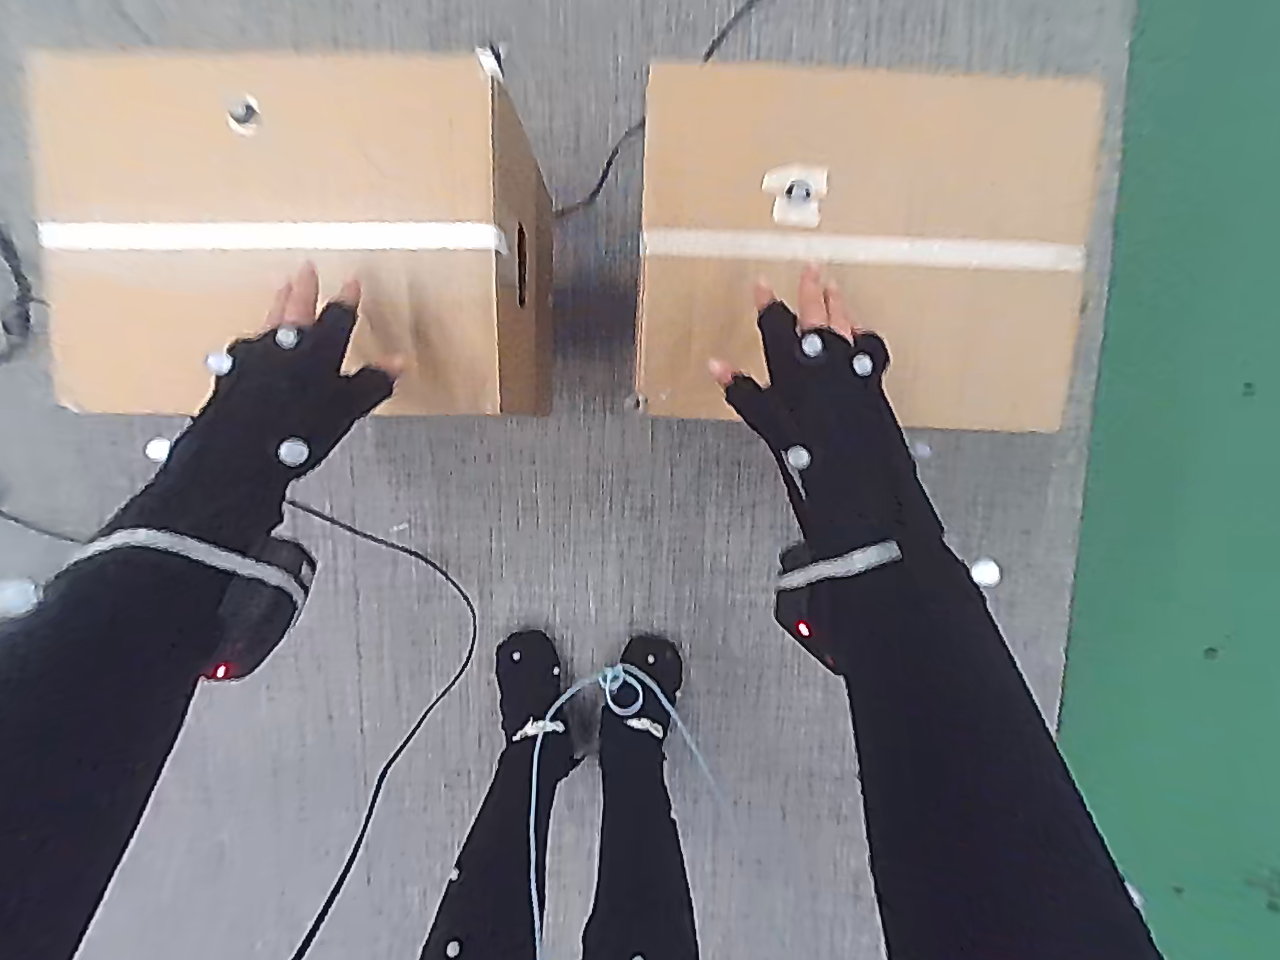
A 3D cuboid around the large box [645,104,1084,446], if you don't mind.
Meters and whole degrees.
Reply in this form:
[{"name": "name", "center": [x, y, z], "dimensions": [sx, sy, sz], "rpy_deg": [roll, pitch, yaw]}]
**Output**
[{"name": "large box", "center": [0.215, -0.213, 0.672], "dimensions": [0.408, 0.320, 0.320], "rpy_deg": [3, 96, 0]}]
